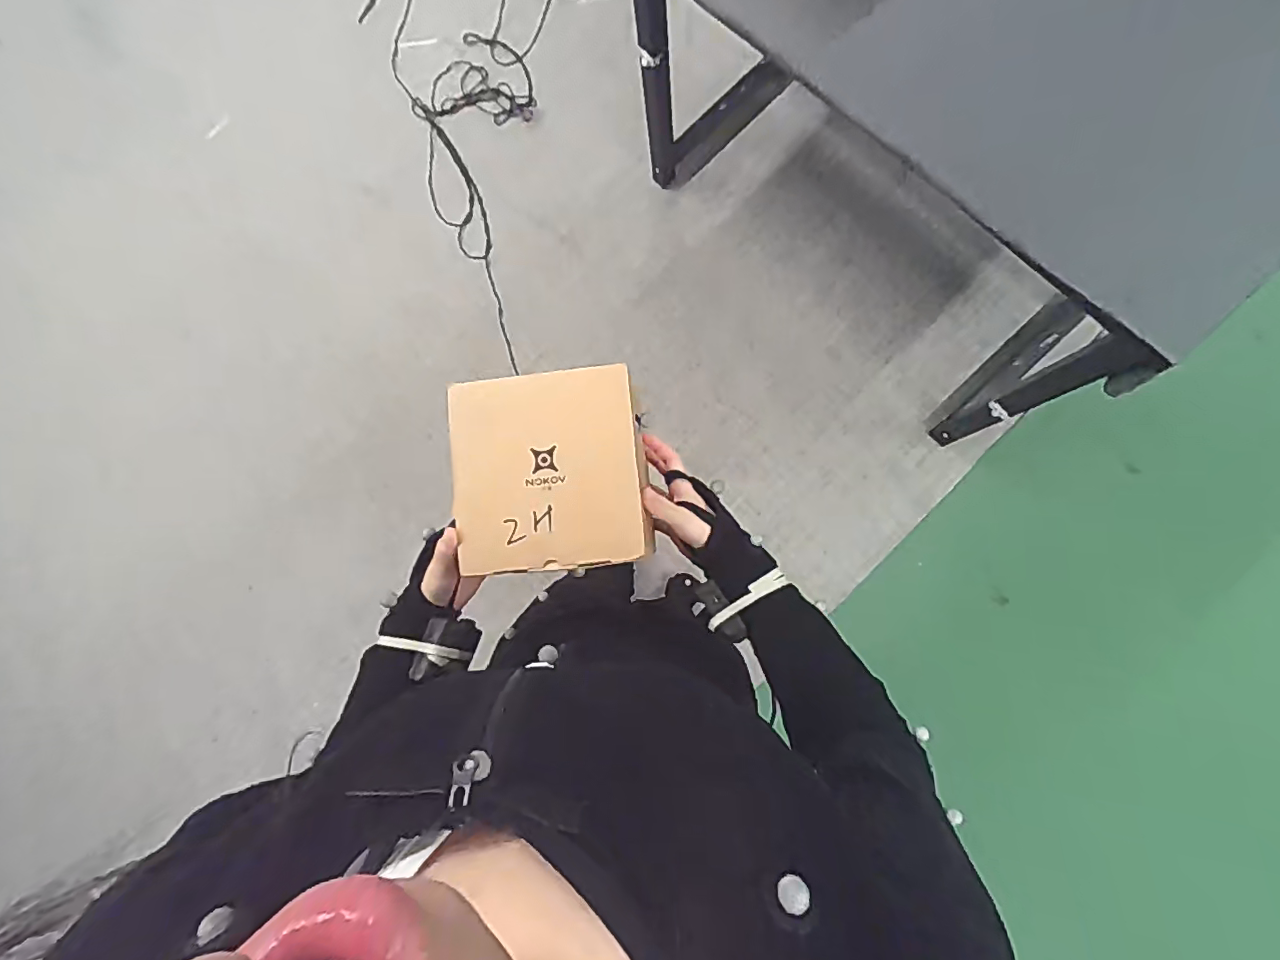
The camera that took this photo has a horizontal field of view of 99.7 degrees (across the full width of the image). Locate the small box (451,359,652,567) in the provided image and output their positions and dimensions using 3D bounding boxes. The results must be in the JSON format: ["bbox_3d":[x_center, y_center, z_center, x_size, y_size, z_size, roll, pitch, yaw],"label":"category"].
[{"bbox_3d":[-0.079,-0.008,0.556,0.168,0.176,0.179,-6,85,4],"label":"small box"}]
